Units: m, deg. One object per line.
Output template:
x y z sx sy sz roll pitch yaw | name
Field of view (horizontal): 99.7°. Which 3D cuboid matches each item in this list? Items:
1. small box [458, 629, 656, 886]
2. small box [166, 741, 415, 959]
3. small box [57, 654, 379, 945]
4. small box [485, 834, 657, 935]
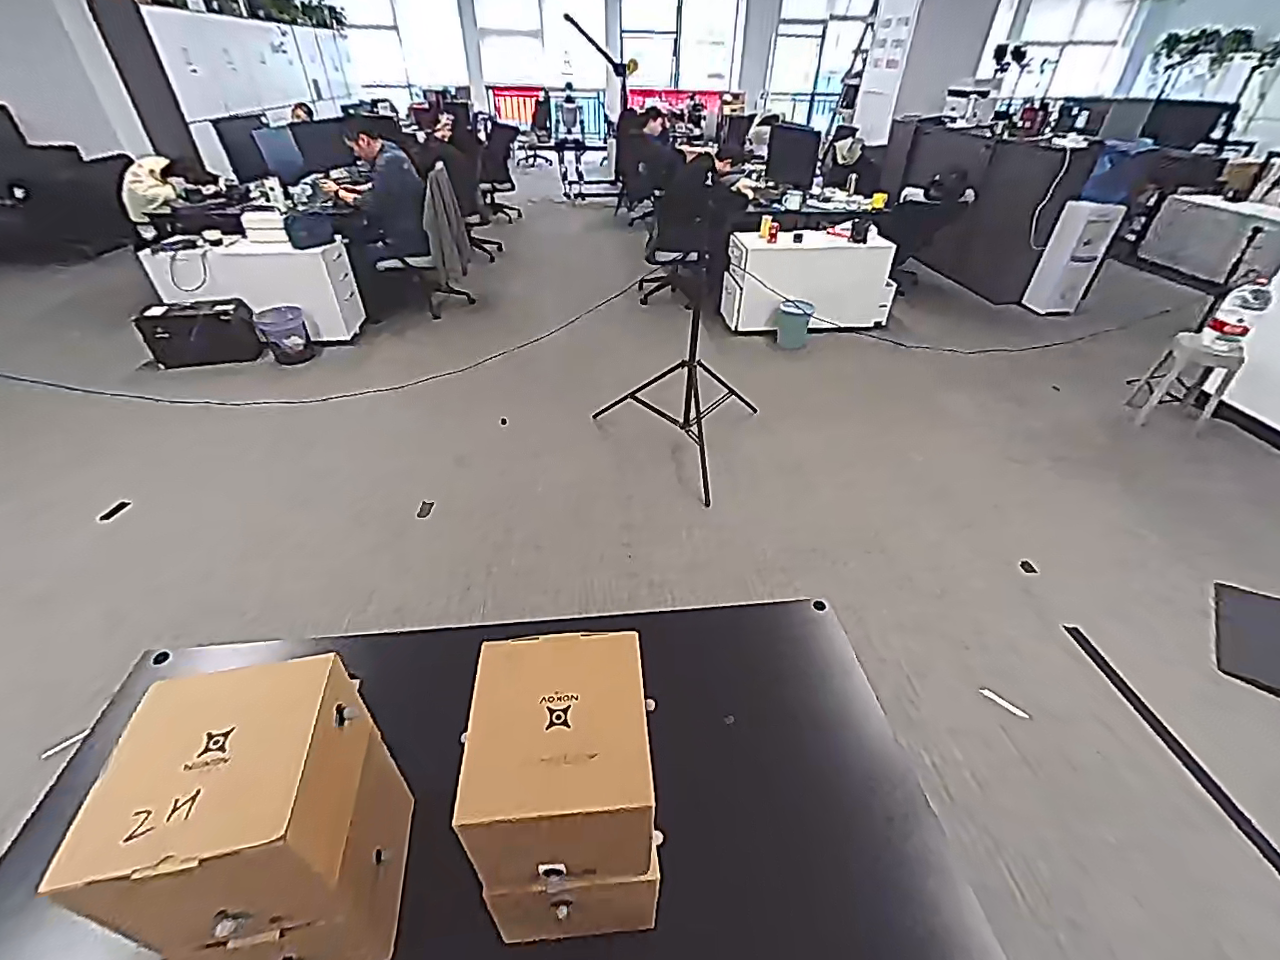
-0.076 0.282 0.559 0.168 0.176 0.179 -4 38 -4 | small box
-0.372 0.436 0.621 0.168 0.176 0.179 -6 38 -8 | small box
-0.370 0.302 0.524 0.168 0.176 0.179 -7 38 -10 | small box
-0.075 0.417 0.651 0.179 0.176 0.168 -2 37 -5 | small box
